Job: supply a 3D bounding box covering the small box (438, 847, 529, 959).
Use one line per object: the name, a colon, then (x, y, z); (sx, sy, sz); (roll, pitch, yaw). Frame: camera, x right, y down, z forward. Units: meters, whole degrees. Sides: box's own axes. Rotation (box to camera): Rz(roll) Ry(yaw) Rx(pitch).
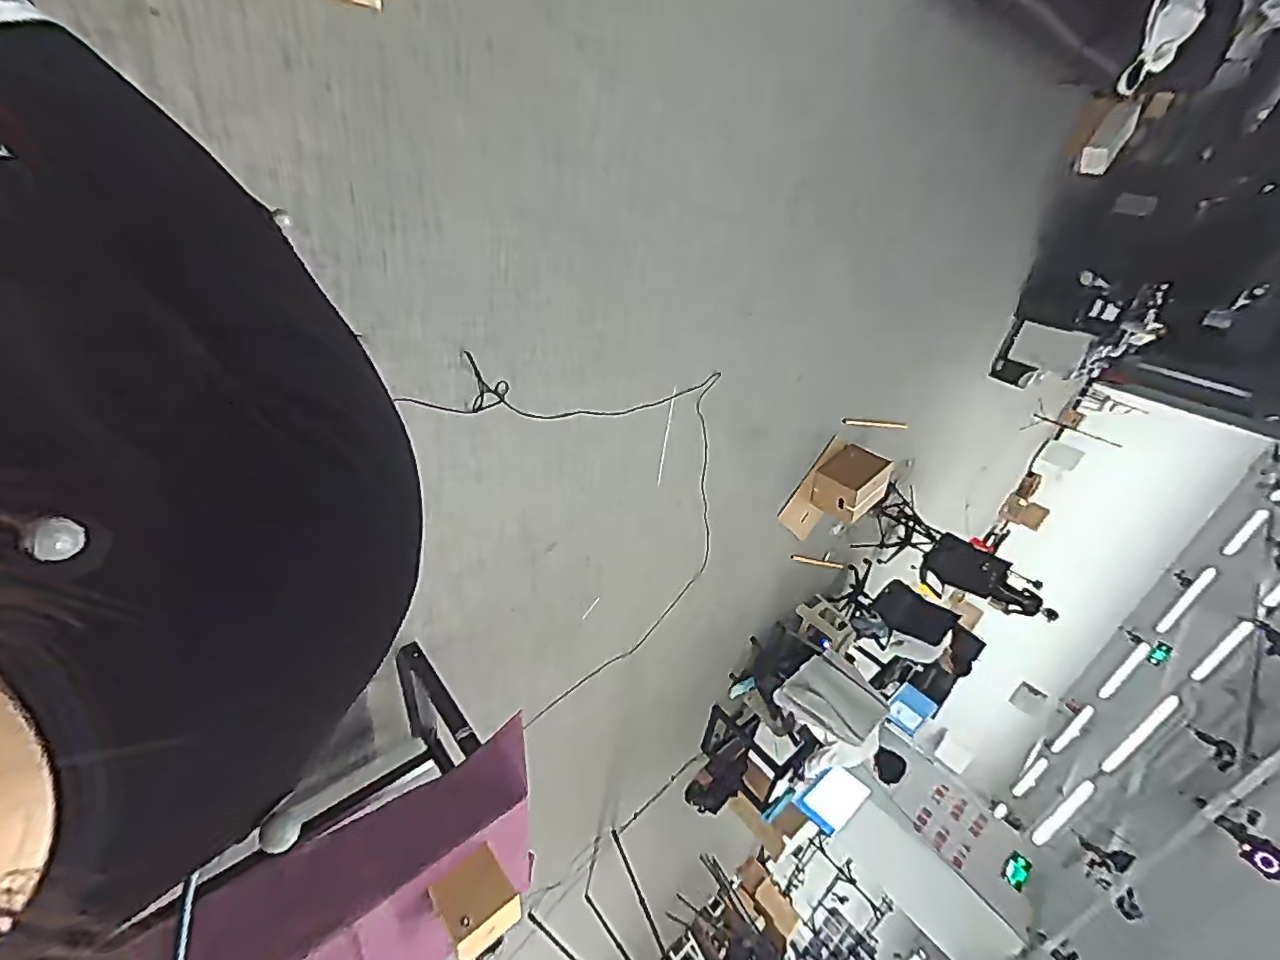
small box: (-0.417, 1.139, 1.450); (0.179, 0.176, 0.168); (-21, 132, -34)
